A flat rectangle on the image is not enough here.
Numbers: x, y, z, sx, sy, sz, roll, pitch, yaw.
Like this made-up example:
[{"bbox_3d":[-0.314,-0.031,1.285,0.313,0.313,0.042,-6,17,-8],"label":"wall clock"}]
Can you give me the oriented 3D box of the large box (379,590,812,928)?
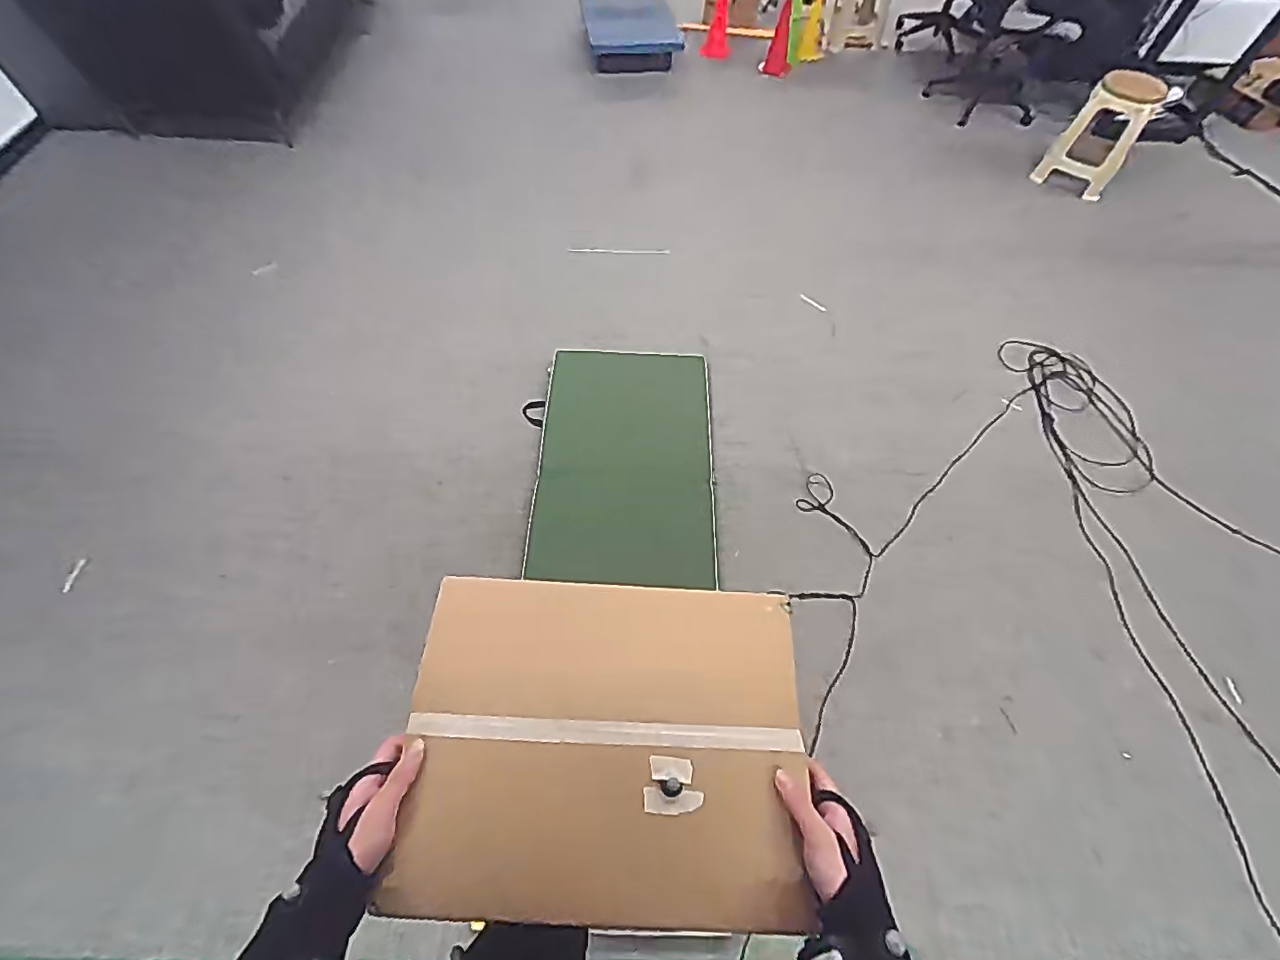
[{"bbox_3d":[-0.044,0.346,0.692,0.408,0.320,0.320,3,60,-2],"label":"large box"}]
